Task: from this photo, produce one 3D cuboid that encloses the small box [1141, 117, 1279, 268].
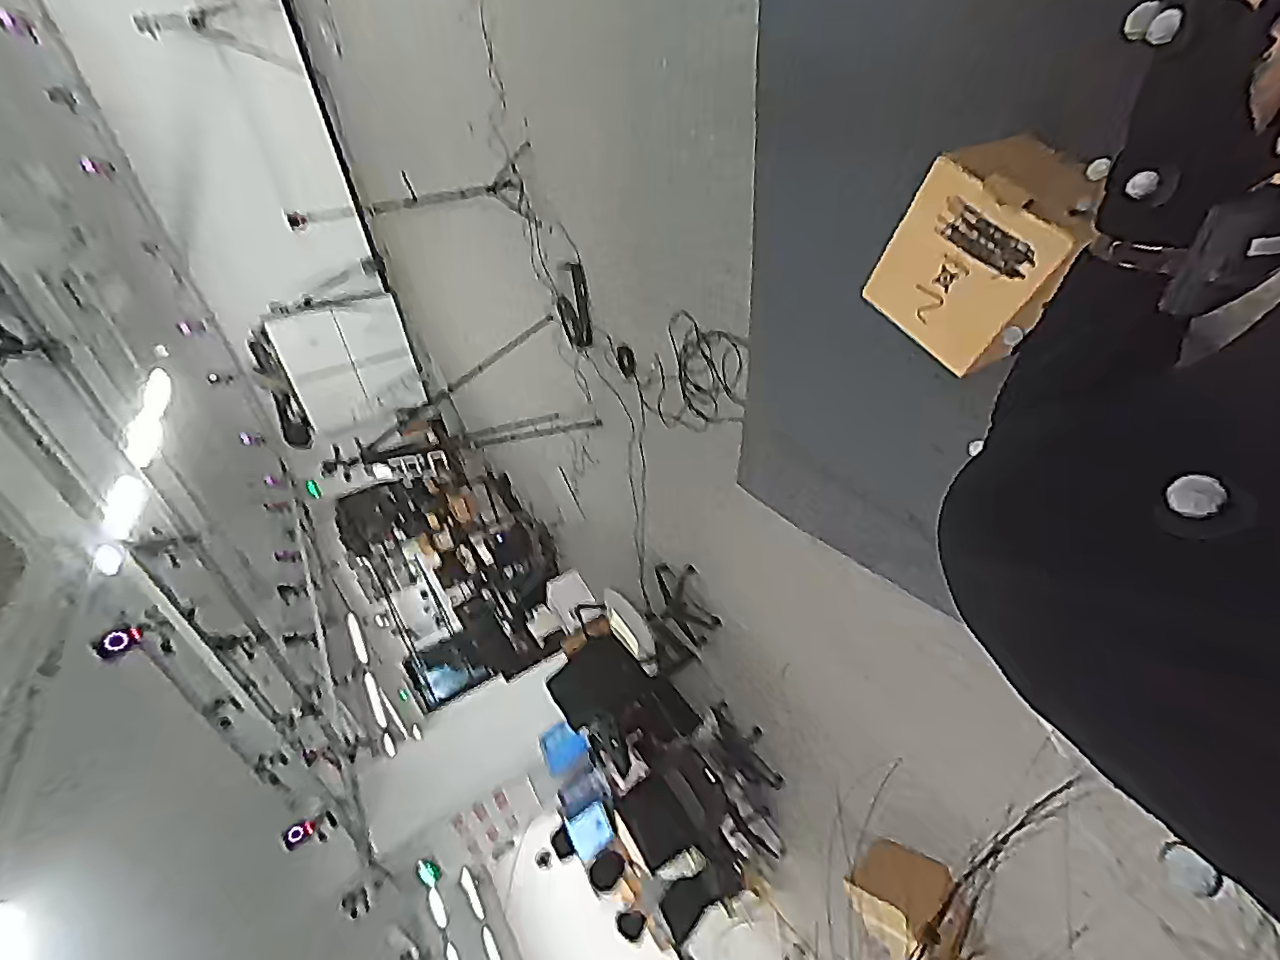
[{"bbox_3d":[1.029,-0.493,0.916,0.168,0.176,0.179,47,151,35],"label":"small box"}]
